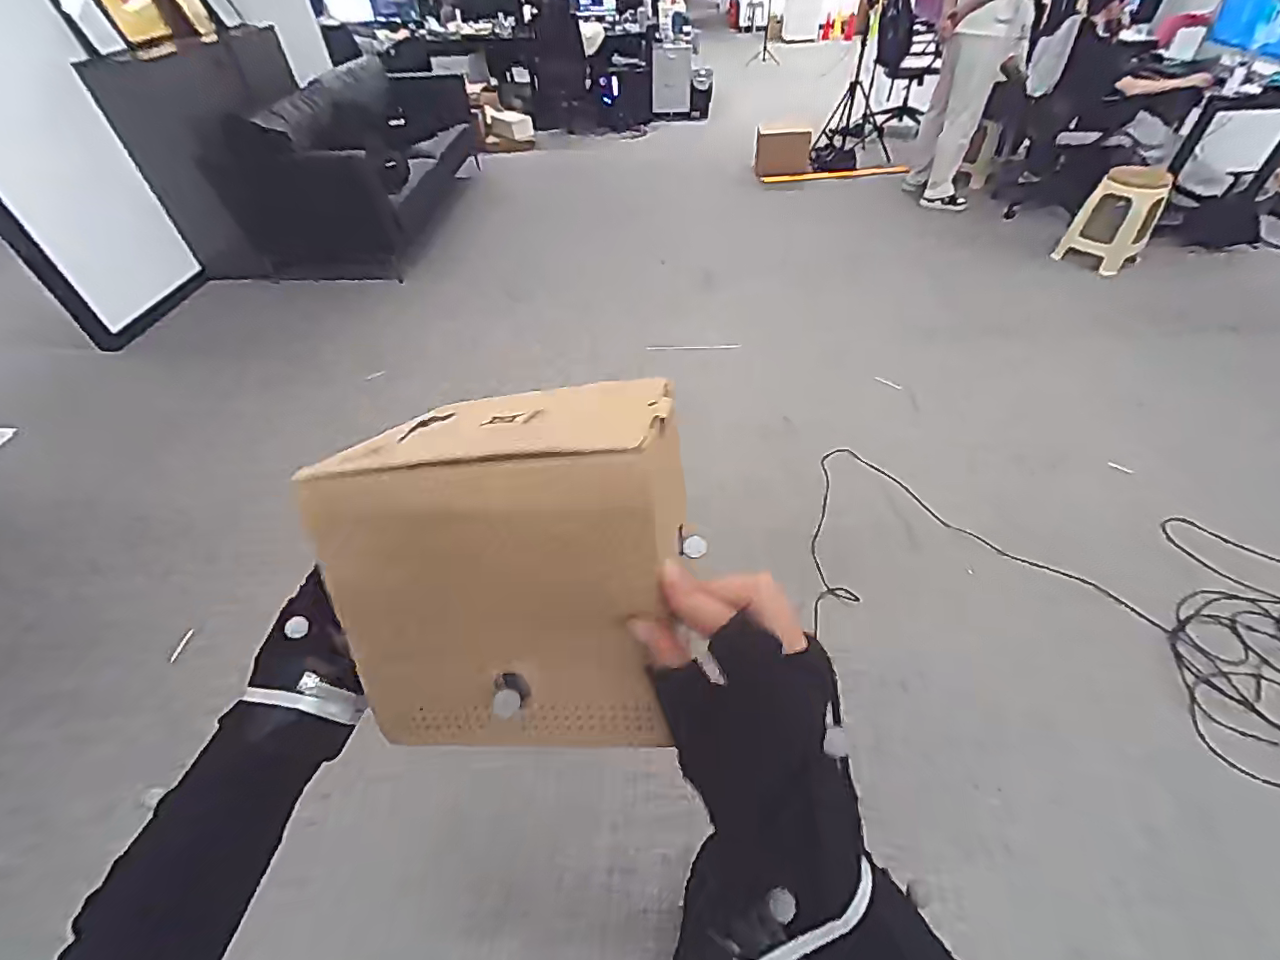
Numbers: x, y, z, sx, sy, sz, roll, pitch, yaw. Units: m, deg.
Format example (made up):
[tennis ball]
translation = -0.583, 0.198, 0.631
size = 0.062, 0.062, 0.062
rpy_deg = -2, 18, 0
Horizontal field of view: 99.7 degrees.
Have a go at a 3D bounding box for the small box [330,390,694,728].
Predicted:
[small box]
translation = -0.056, 0.041, 0.360
size = 0.179, 0.176, 0.168
rpy_deg = -3, 16, 8
